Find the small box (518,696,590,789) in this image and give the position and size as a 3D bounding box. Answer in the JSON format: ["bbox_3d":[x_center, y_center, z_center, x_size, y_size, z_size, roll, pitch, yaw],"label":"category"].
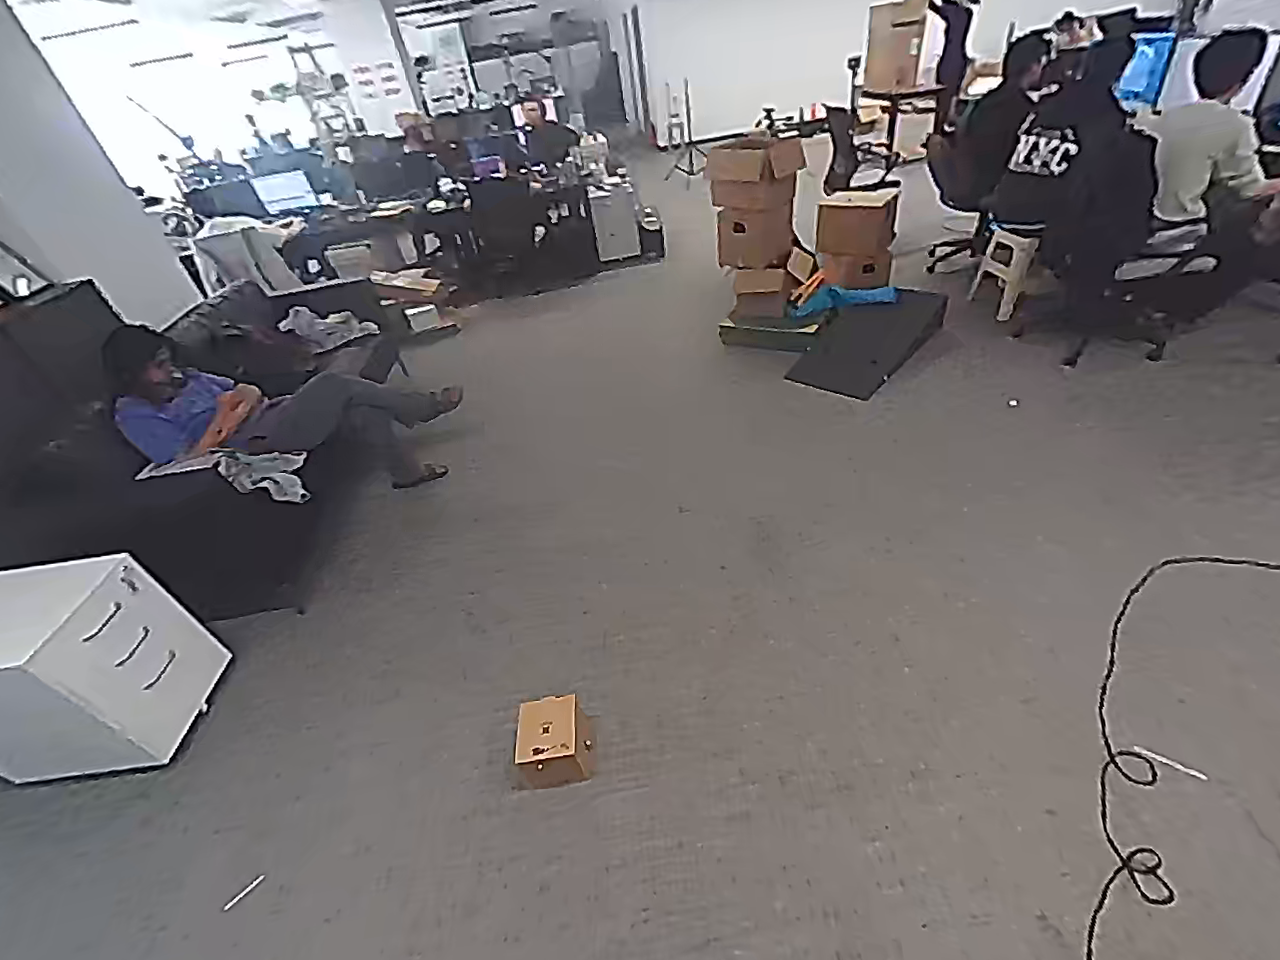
[{"bbox_3d":[-0.240,0.753,1.552,0.168,0.176,0.179,-10,37,2],"label":"small box"}]
